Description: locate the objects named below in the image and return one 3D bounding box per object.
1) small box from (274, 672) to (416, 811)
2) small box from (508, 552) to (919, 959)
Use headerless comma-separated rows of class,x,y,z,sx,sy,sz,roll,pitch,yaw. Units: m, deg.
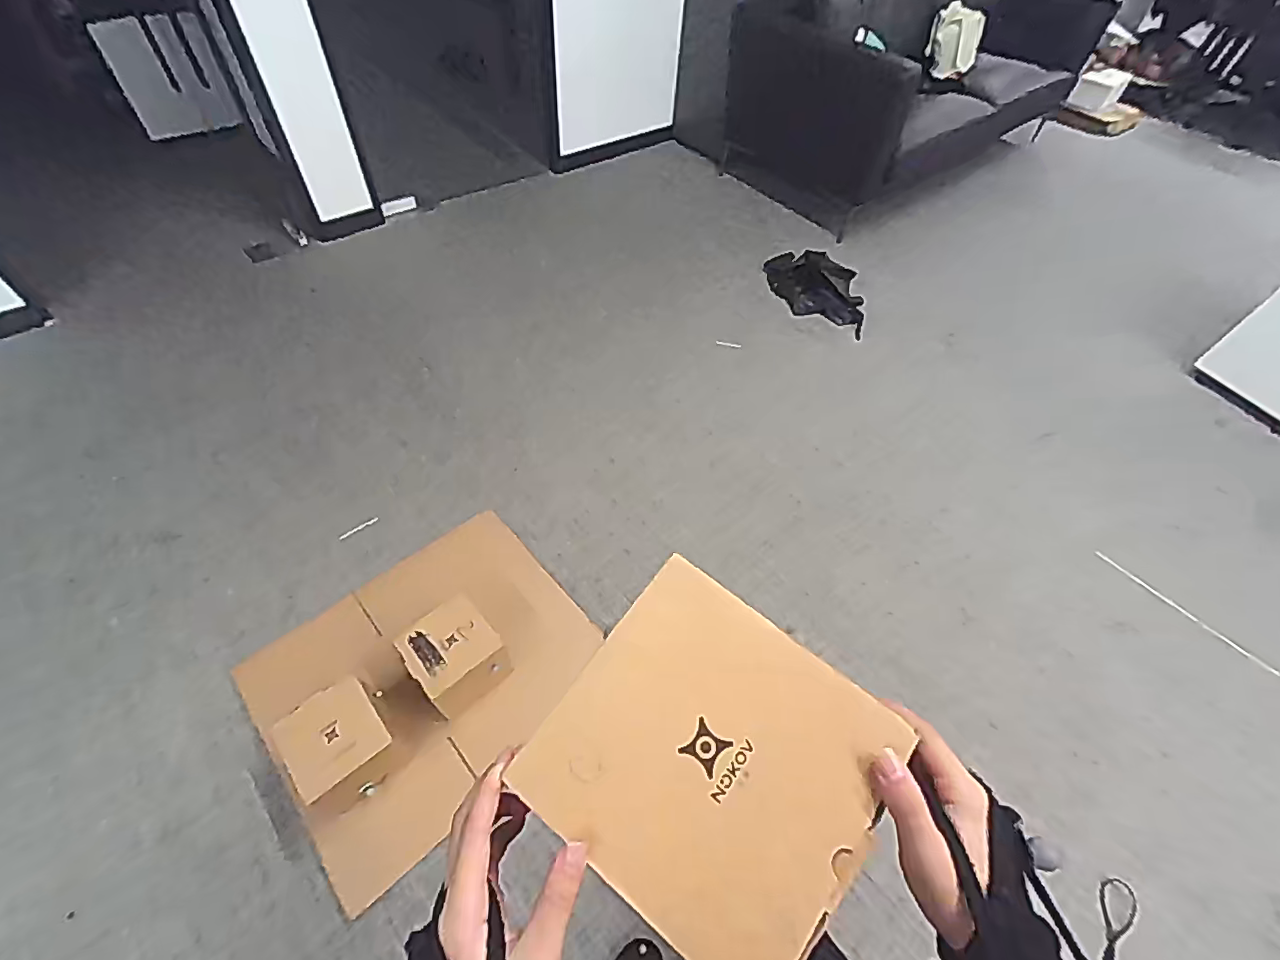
small box,-0.581,0.527,1.081,0.168,0.176,0.179,-34,63,-26
small box,0.042,0.184,0.374,0.179,0.176,0.168,35,70,15
